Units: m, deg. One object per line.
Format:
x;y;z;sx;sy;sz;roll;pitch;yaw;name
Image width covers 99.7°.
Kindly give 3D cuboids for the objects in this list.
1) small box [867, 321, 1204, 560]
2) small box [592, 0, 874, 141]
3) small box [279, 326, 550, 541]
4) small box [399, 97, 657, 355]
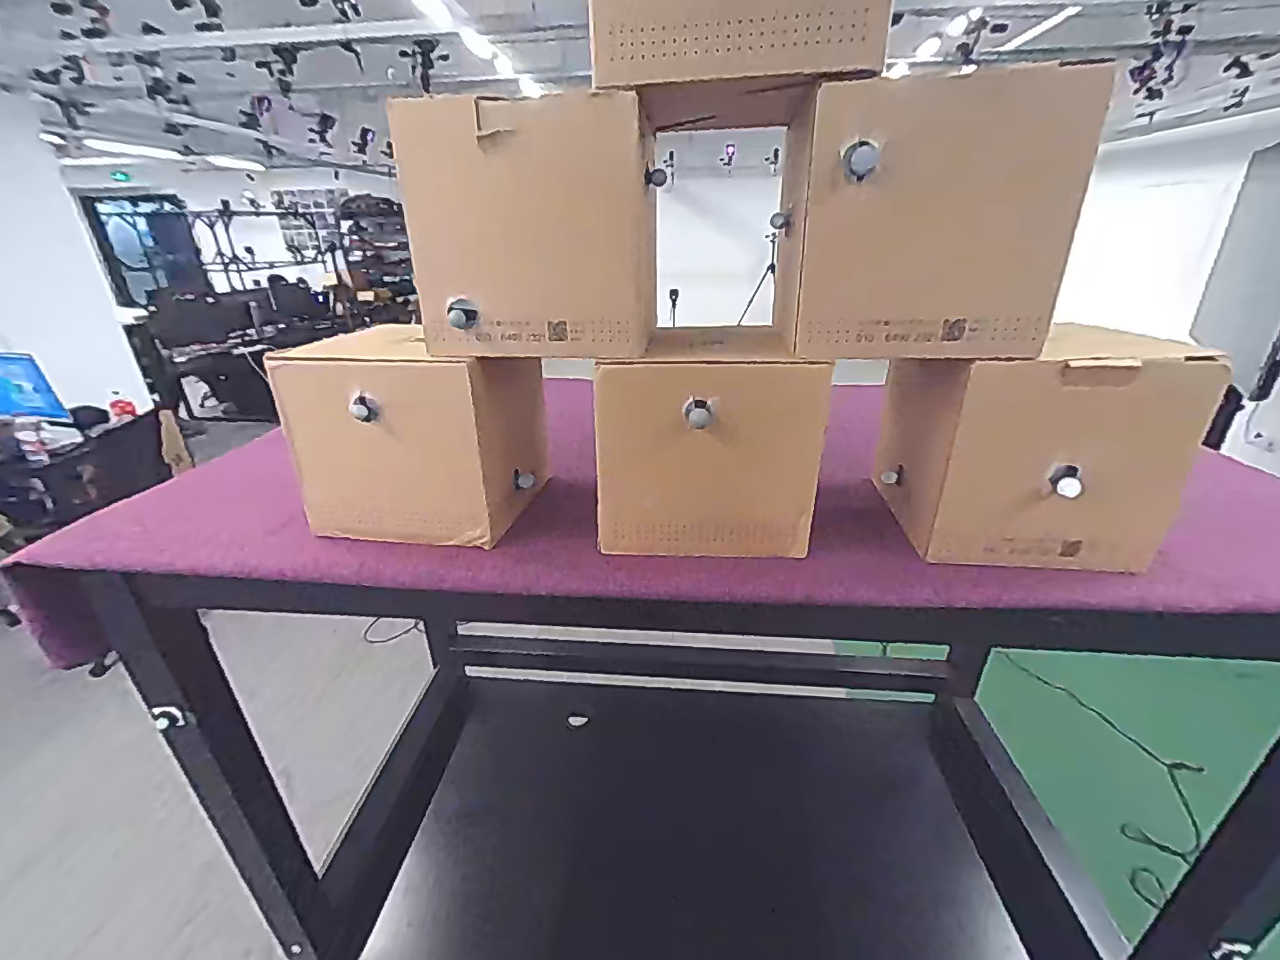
0.317;-0.043;0.485;0.168;0.176;0.179;3;25;7;small box
0.064;-0.350;0.381;0.179;0.176;0.168;2;24;8;small box
-0.199;-0.053;0.530;0.179;0.176;0.168;4;24;9;small box
-0.073;-0.204;0.464;0.168;0.176;0.179;2;23;5;small box
